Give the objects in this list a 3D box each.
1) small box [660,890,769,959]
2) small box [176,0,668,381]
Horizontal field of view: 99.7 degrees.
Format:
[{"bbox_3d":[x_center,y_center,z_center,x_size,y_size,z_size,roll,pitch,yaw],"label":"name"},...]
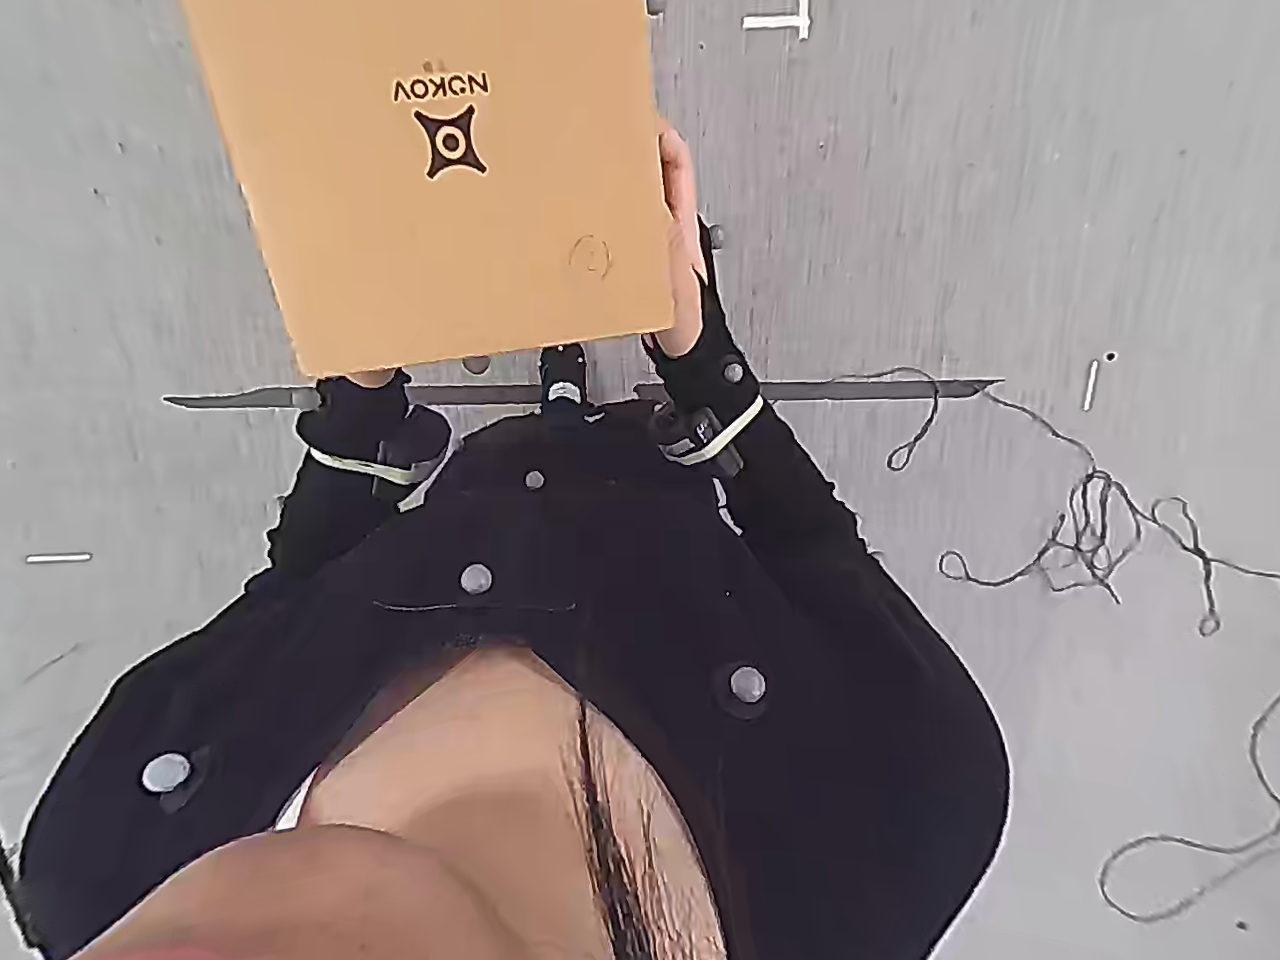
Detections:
[{"bbox_3d":[0.125,0.829,0.896,0.168,0.176,0.179,0,104,-4],"label":"small box"},{"bbox_3d":[-0.084,-0.160,0.286,0.168,0.176,0.179,-9,109,-4],"label":"small box"}]
